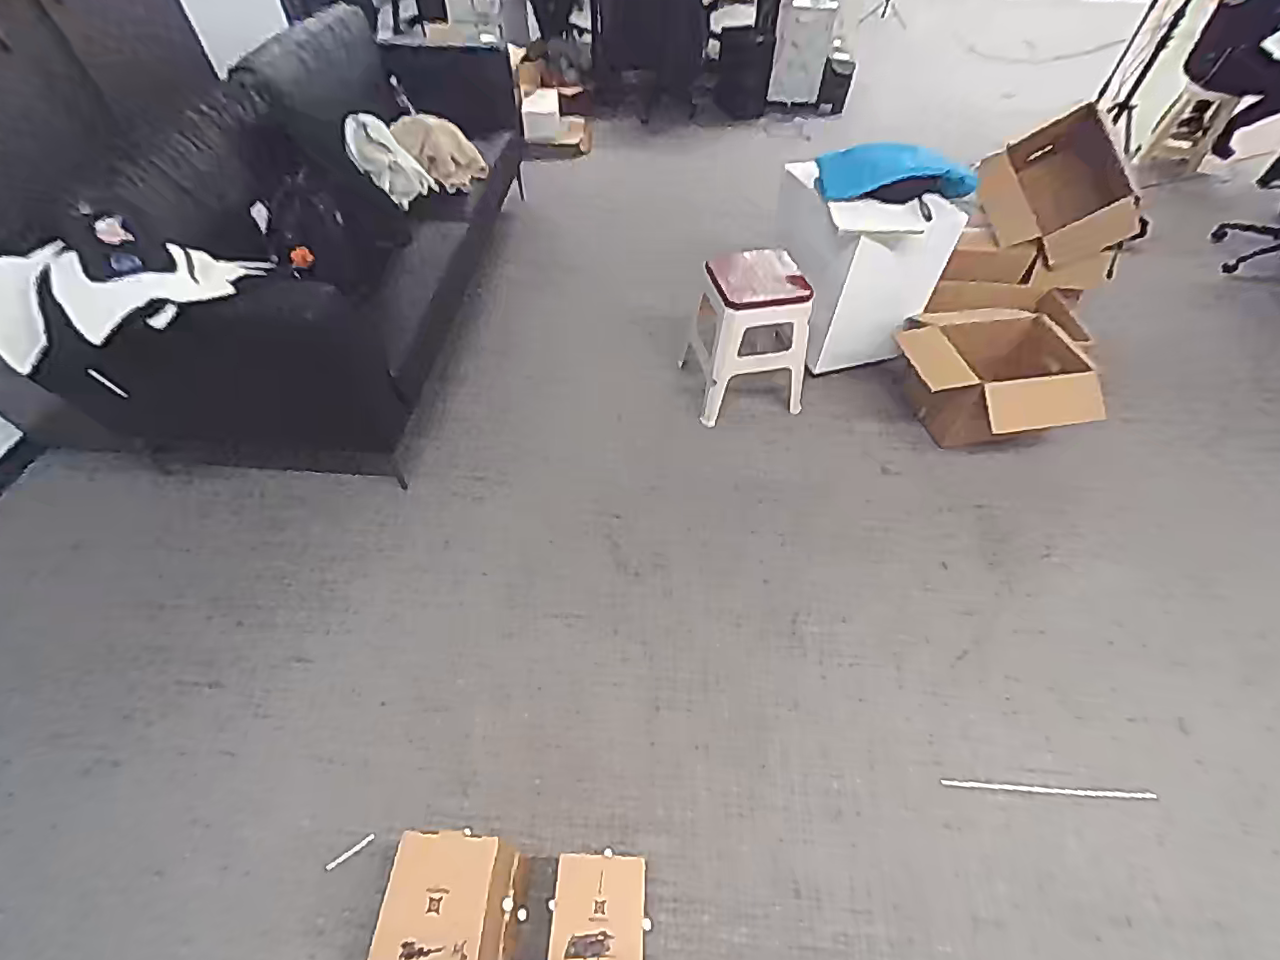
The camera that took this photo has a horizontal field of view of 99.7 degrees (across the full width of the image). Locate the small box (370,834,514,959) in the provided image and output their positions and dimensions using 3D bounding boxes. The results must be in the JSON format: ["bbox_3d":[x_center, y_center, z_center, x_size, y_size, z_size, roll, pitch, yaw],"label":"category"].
[{"bbox_3d":[-0.318,0.721,0.910,0.168,0.176,0.179,4,49,2],"label":"small box"}]

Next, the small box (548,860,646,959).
[{"bbox_3d":[-0.074,0.841,1.024,0.168,0.176,0.179,3,49,1],"label":"small box"}]
